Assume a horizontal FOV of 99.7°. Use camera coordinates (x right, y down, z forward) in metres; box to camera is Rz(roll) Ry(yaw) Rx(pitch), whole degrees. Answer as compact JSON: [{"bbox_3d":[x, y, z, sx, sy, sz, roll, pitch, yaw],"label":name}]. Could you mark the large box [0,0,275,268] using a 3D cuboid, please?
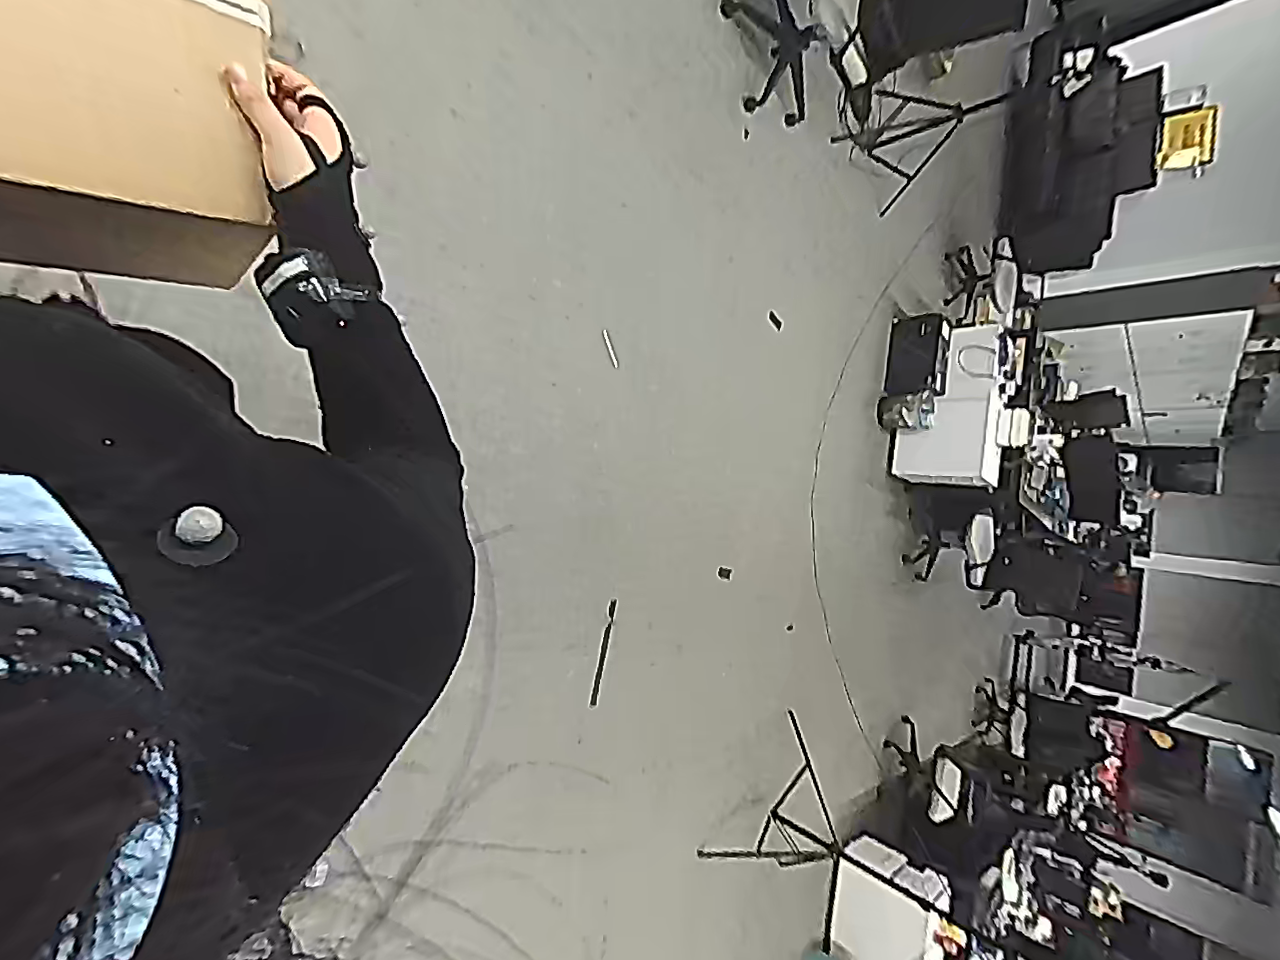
[{"bbox_3d":[-0.546,-0.366,0.400,0.408,0.320,0.320,-8,100,-41],"label":"large box"}]
